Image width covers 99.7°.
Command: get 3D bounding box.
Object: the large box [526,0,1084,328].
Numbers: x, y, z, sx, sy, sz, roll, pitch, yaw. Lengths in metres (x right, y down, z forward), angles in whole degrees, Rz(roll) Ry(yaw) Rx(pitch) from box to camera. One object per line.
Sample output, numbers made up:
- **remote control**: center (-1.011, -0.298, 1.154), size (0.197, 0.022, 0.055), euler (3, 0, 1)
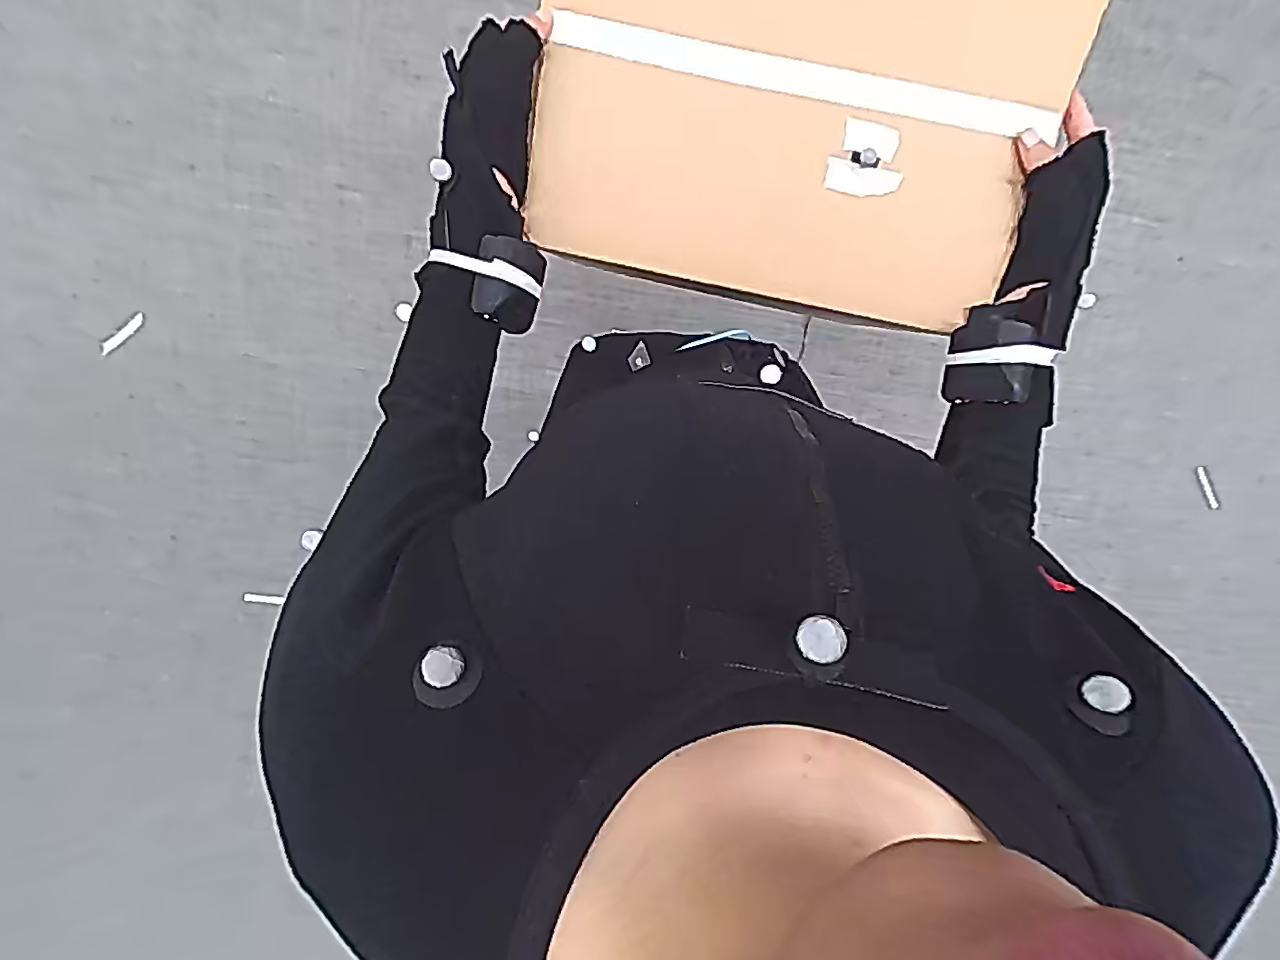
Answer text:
- **large box**: center (0.126, -0.361, 0.572), size (0.408, 0.320, 0.320), euler (12, 110, -1)
